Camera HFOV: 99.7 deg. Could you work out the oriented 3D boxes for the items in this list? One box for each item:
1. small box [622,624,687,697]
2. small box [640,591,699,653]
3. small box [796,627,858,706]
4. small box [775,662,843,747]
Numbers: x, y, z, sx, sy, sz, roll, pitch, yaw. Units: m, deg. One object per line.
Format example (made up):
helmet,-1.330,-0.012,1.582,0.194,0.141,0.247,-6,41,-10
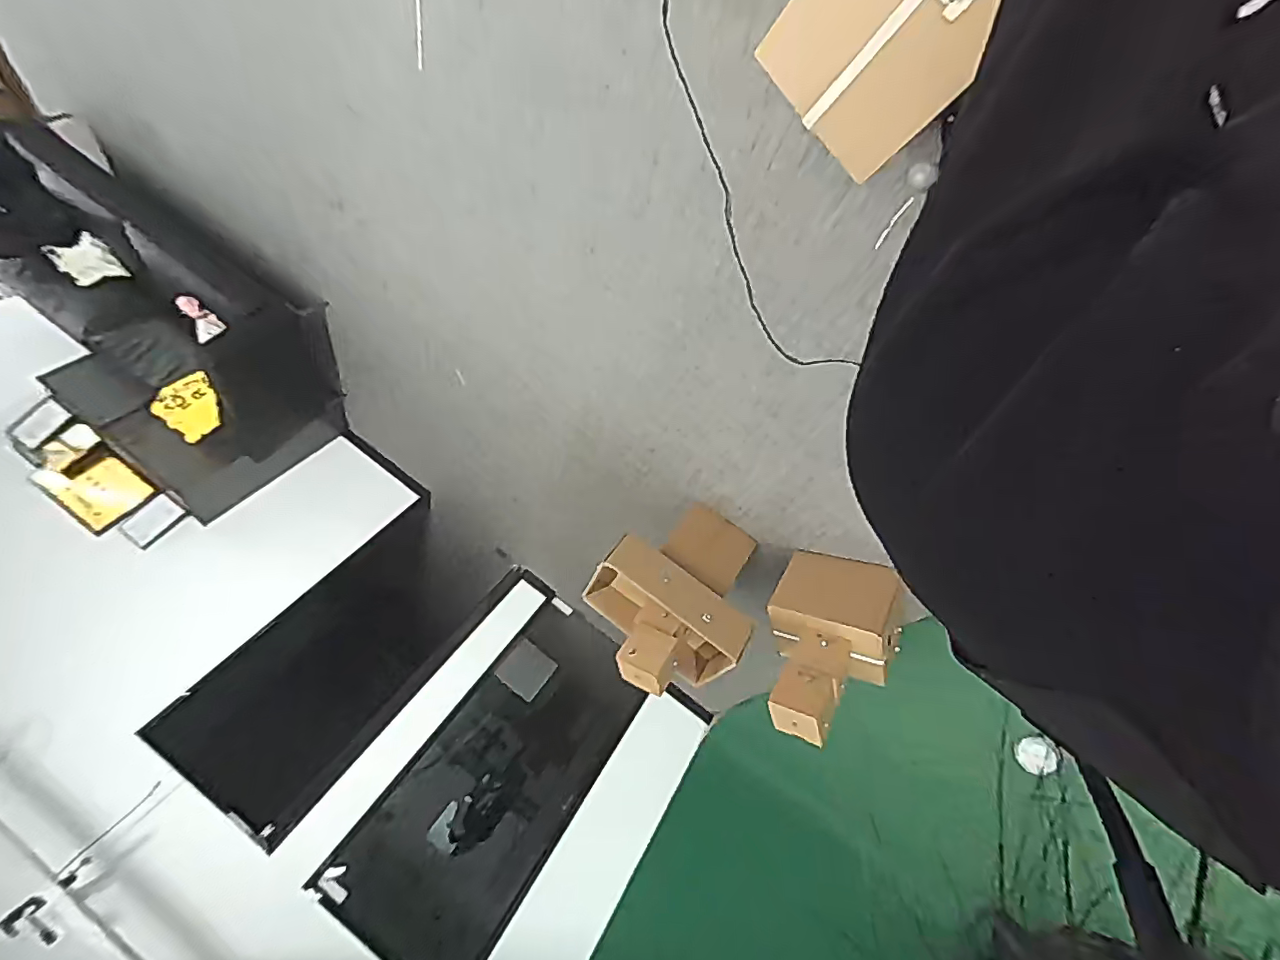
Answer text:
small box,0.059,0.669,2.027,0.179,0.176,0.168,17,138,28
small box,0.126,0.567,2.141,0.179,0.176,0.168,16,136,29
small box,0.668,0.657,1.919,0.168,0.176,0.179,11,134,34
small box,0.576,0.751,1.823,0.168,0.176,0.179,8,133,36
